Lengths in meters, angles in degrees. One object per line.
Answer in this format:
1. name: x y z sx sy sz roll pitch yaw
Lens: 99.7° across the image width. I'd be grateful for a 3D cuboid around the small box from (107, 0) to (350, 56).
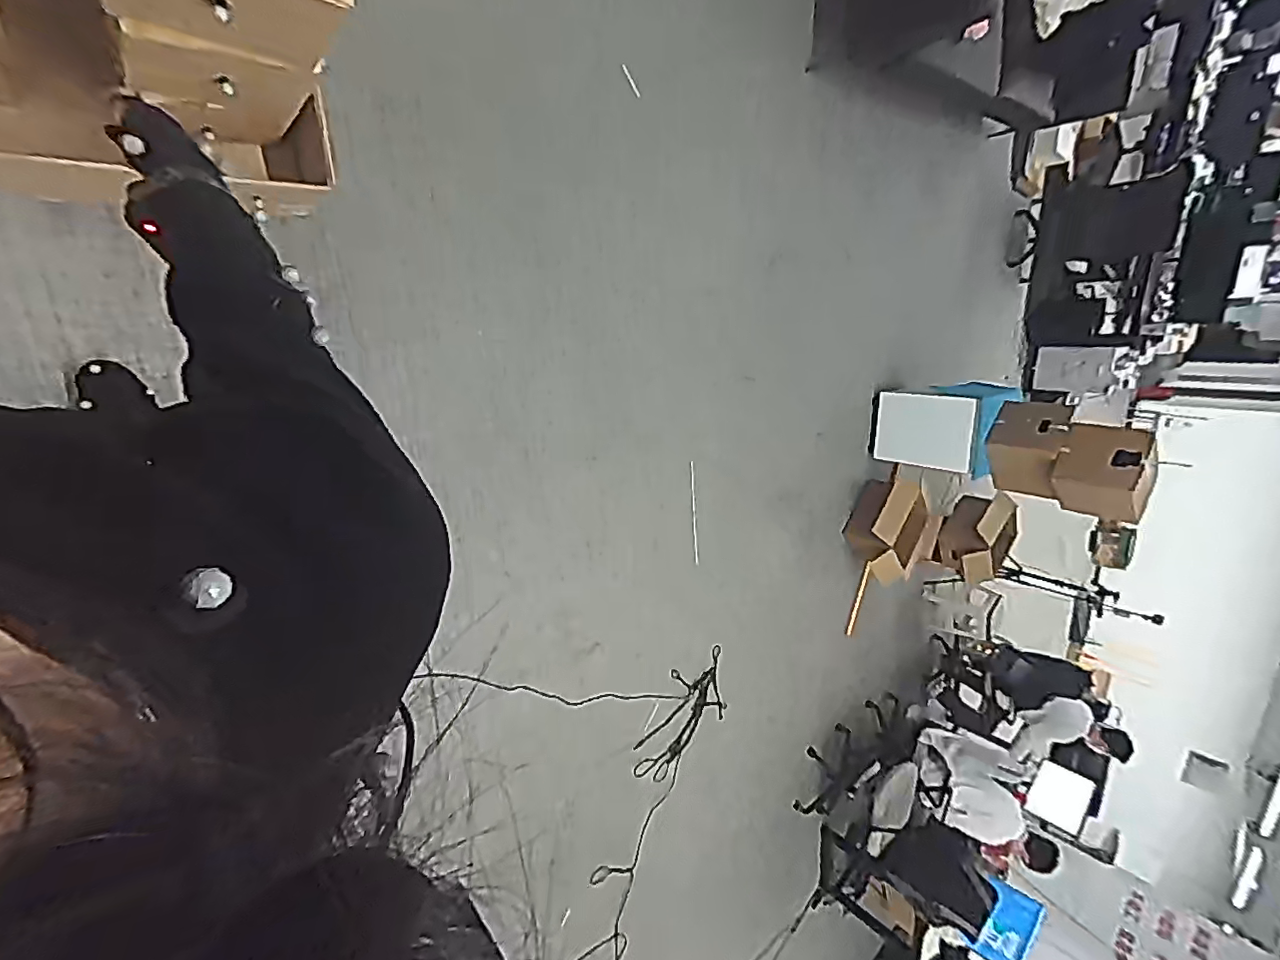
1. small box: -0.377 -0.511 0.471 0.179 0.176 0.168 -11 109 -39
